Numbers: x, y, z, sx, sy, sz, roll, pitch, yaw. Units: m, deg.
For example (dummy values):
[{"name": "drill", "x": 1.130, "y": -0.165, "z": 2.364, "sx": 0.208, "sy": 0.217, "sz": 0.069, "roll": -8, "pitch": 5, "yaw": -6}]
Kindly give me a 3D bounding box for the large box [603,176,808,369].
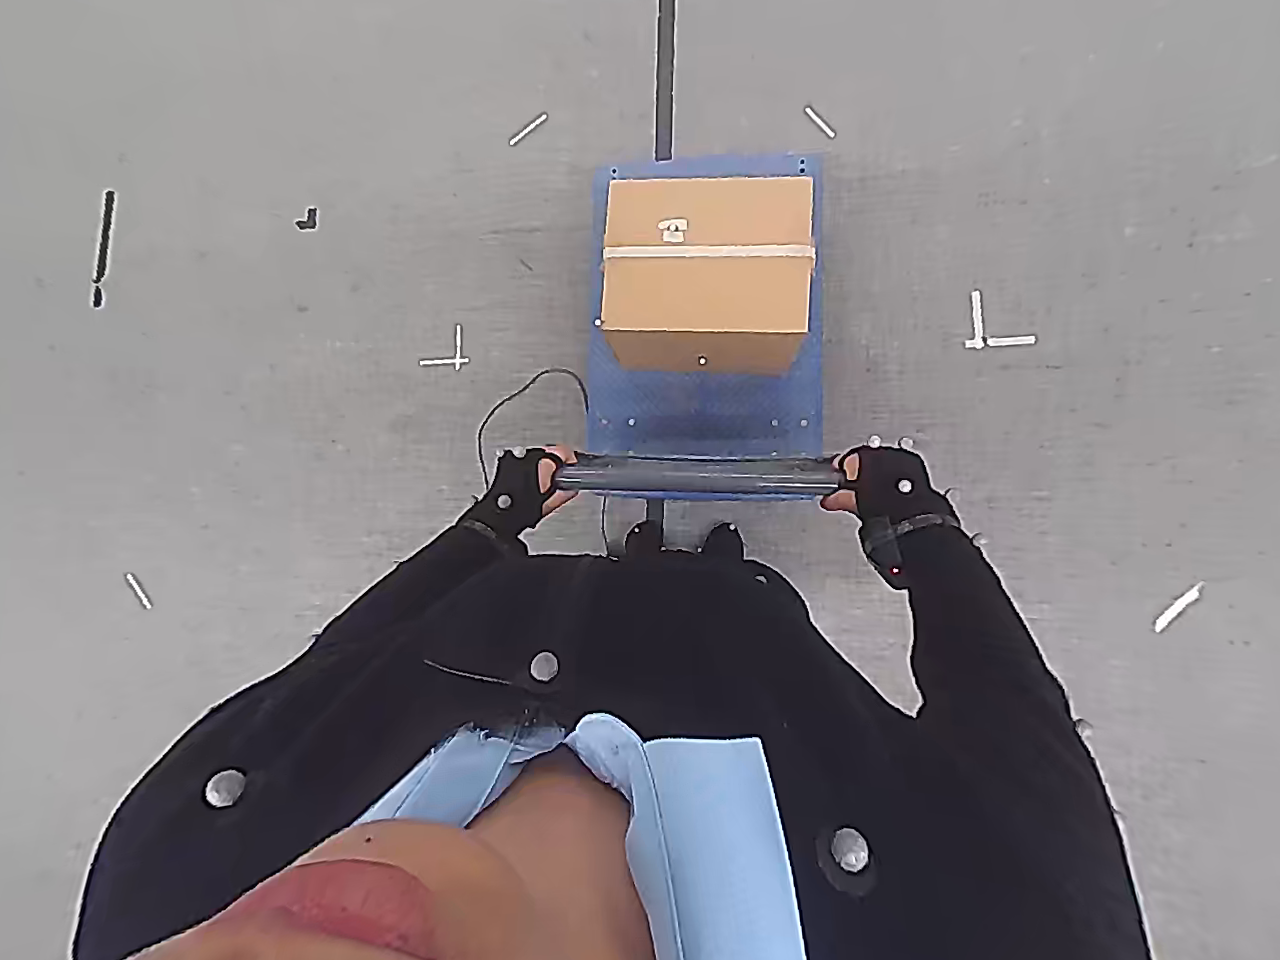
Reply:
[{"name": "large box", "x": 0.149, "y": -0.440, "z": 1.223, "sx": 0.408, "sy": 0.320, "sz": 0.320, "roll": 3, "pitch": 85, "yaw": 7}]
